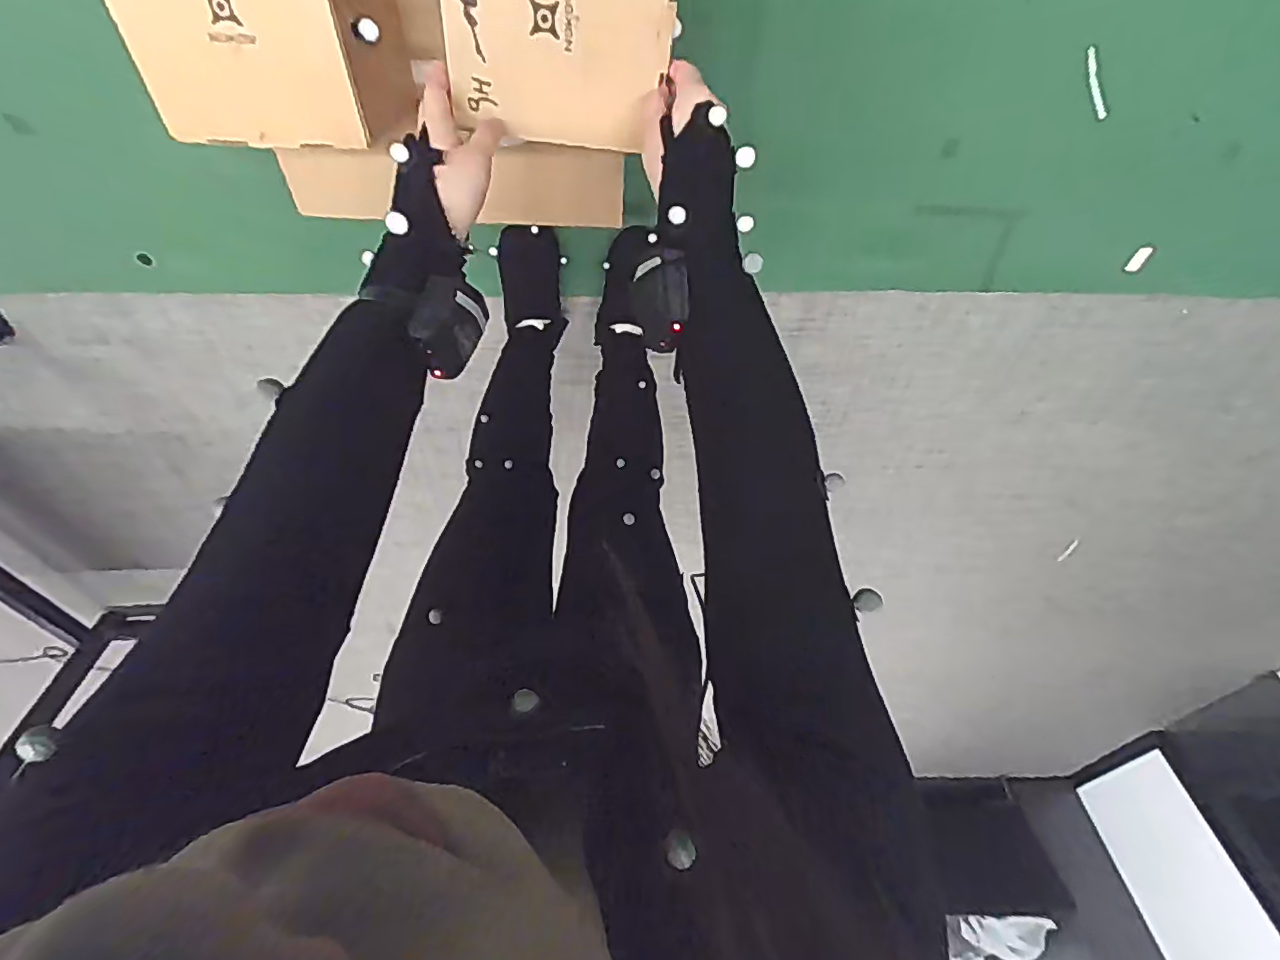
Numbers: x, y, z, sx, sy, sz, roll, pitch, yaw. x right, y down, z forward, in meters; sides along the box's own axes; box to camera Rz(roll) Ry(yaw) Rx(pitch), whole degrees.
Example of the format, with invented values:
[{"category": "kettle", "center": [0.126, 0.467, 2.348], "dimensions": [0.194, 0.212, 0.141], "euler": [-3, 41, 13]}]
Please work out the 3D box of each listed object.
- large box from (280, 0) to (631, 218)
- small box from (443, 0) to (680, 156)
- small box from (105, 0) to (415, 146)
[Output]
[{"category": "large box", "center": [-0.214, -0.541, 0.670], "dimensions": [0.408, 0.320, 0.320], "euler": [0, 136, -3]}, {"category": "small box", "center": [-0.063, -0.404, 0.465], "dimensions": [0.179, 0.176, 0.168], "euler": [4, 135, -6]}, {"category": "small box", "center": [-0.312, -0.406, 0.458], "dimensions": [0.168, 0.176, 0.179], "euler": [1, 135, -2]}]
